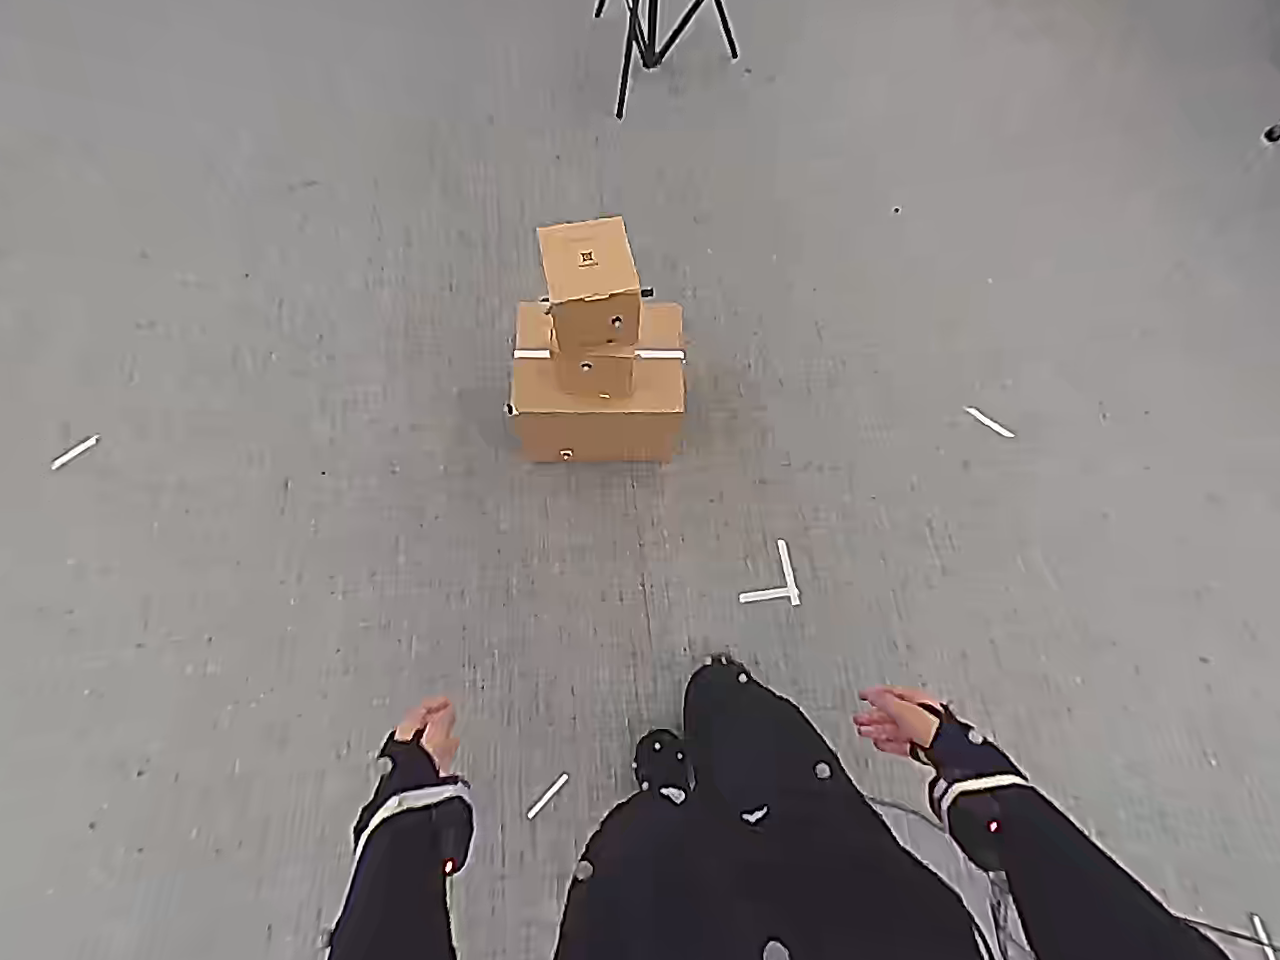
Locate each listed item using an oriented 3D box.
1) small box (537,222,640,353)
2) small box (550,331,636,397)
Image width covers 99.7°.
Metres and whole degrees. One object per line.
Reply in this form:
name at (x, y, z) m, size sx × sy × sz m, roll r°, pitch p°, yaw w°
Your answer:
small box at (-0.098, -0.368, 1.063) m, size 0.168 × 0.176 × 0.179 m, roll -11°, pitch 70°, yaw -7°
small box at (-0.098, -0.297, 1.211) m, size 0.179 × 0.176 × 0.168 m, roll 3°, pitch 70°, yaw -2°
